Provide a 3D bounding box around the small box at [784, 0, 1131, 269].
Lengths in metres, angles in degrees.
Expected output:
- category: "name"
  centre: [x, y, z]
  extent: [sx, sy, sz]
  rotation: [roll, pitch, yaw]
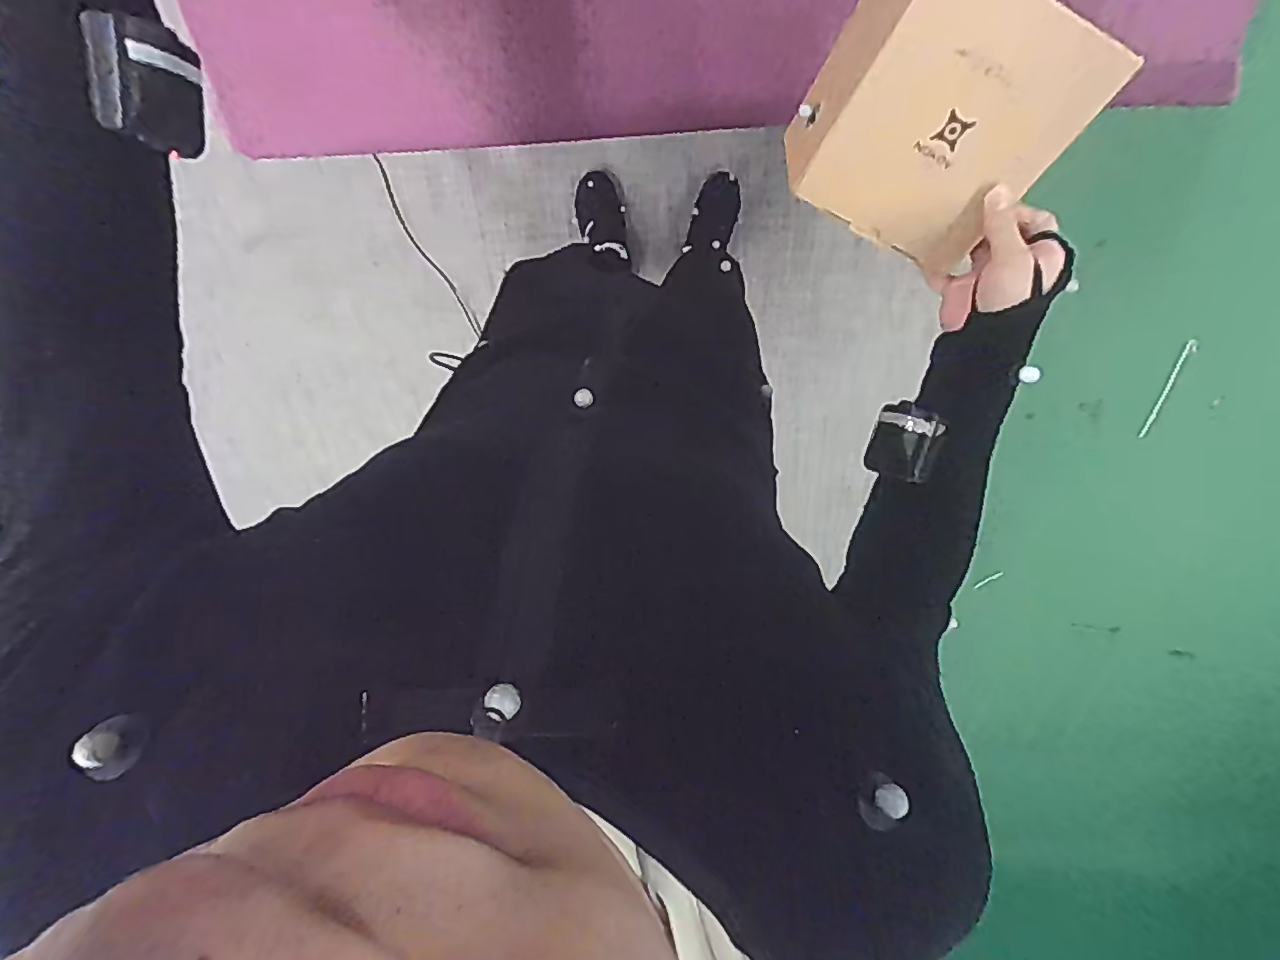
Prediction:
- category: "small box"
  centre: [0.241, -0.326, 0.464]
  extent: [0.168, 0.176, 0.179]
  rotation: [21, 137, -11]
